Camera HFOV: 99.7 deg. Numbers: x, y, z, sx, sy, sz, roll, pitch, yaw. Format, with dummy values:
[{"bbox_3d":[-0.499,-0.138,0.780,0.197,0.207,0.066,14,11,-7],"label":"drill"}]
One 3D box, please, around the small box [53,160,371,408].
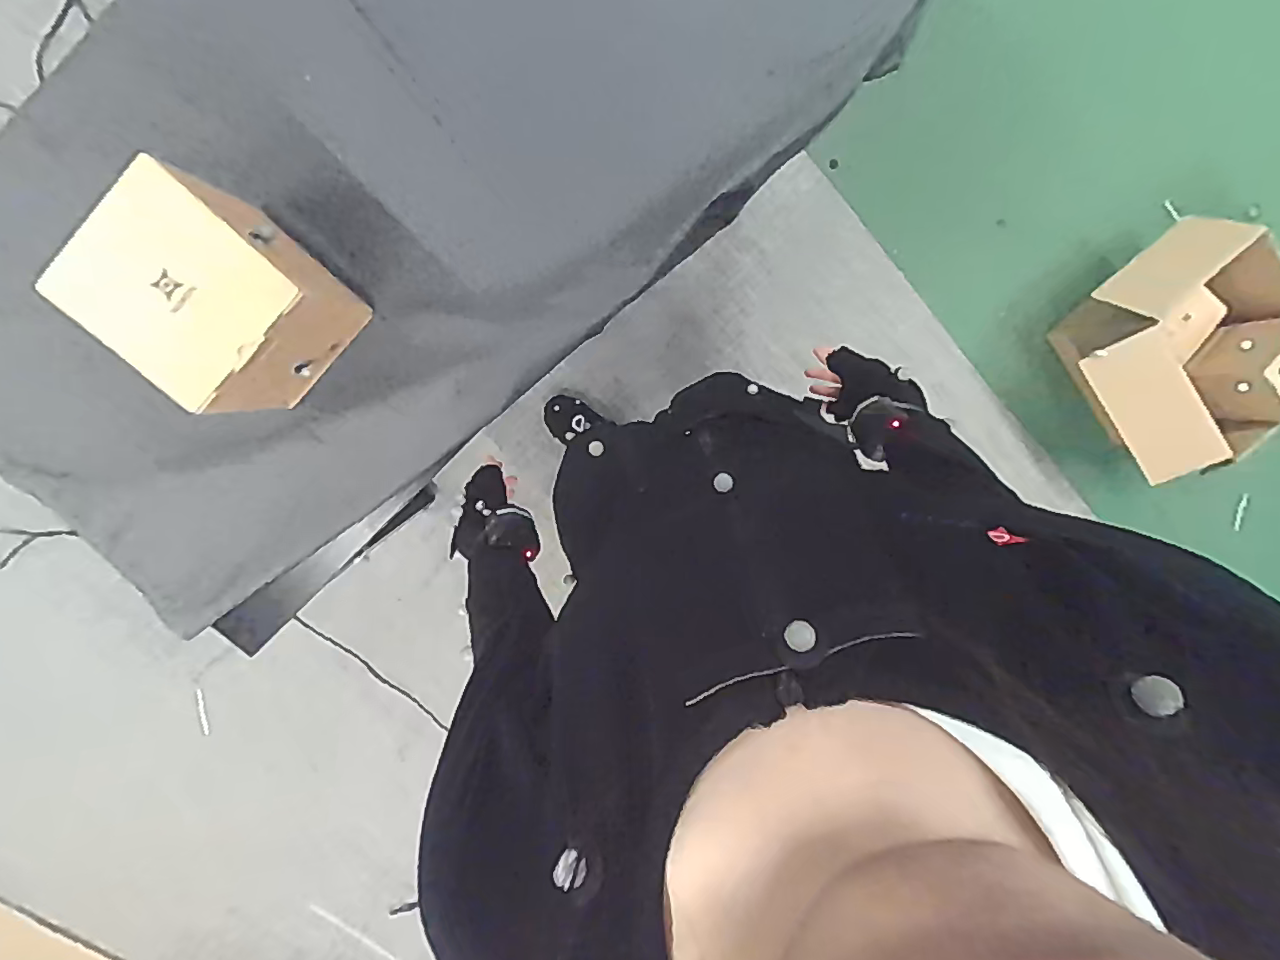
[{"bbox_3d":[-0.446,-0.197,0.599,0.179,0.176,0.168,43,94,-10],"label":"small box"}]
